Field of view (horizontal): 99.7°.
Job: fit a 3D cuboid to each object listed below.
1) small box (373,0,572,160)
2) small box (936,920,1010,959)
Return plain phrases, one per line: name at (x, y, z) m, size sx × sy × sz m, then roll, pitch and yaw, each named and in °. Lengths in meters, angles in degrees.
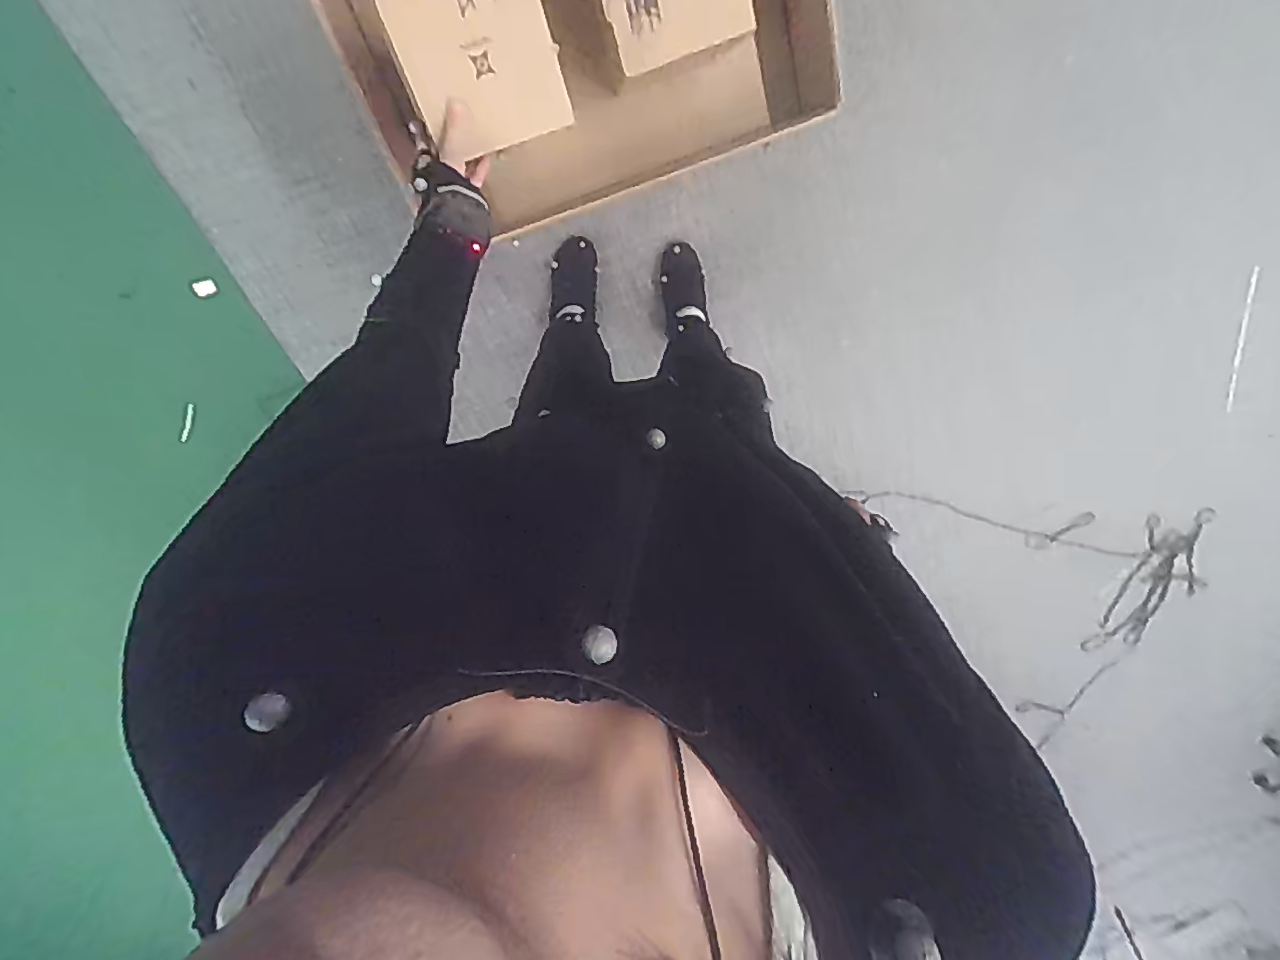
small box at (-0.199, -0.500, 0.642) m, size 0.168 × 0.176 × 0.179 m, roll -24°, pitch 125°, yaw -10°
small box at (1.022, 1.474, 1.640) m, size 0.168 × 0.176 × 0.179 m, roll -18°, pitch 119°, yaw 4°
